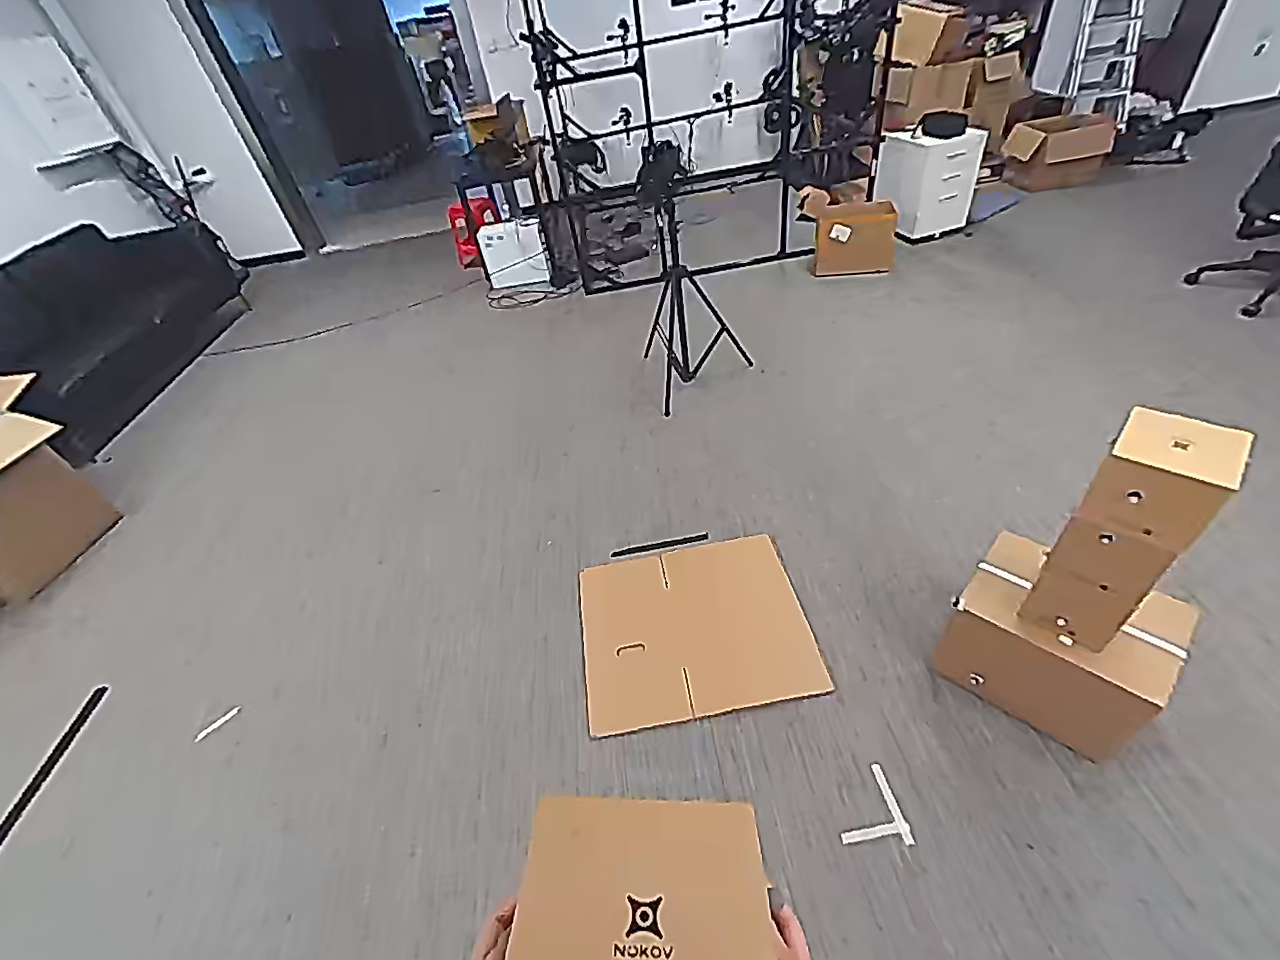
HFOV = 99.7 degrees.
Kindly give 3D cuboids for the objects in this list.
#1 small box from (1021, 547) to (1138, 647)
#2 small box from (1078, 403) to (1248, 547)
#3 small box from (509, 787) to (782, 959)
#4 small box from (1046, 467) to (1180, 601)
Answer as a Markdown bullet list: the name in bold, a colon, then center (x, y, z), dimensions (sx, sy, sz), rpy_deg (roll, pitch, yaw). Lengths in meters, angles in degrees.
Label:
- **small box**: center (0.989, 0.231, 1.207), dimensions (0.168, 0.176, 0.179), rpy_deg (27, 55, 35)
- **small box**: center (0.945, -0.009, 0.990), dimensions (0.168, 0.176, 0.179), rpy_deg (27, 53, 35)
- **small box**: center (0.004, 0.349, 0.372), dimensions (0.168, 0.176, 0.179), rpy_deg (0, 25, 2)
- **small box**: center (0.967, 0.109, 1.101), dimensions (0.168, 0.176, 0.179), rpy_deg (27, 53, 36)
